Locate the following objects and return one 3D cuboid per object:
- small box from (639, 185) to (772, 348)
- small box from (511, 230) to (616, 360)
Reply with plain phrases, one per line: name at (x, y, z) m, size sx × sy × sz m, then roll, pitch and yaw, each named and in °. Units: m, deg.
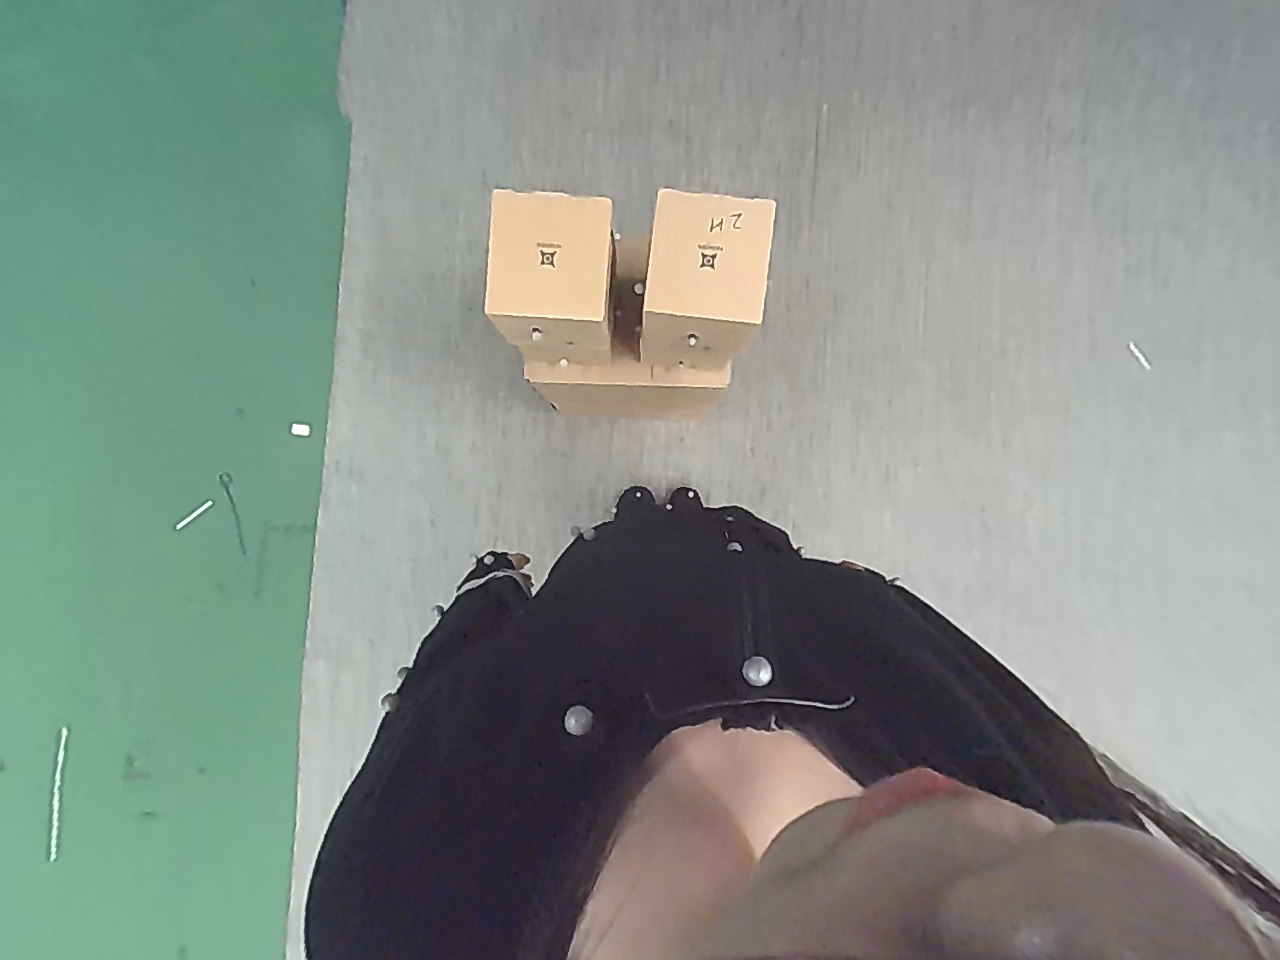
small box at (0.093, -0.313, 0.828) m, size 0.168 × 0.176 × 0.179 m, roll 8°, pitch 90°, yaw 1°
small box at (-0.133, -0.330, 0.993) m, size 0.168 × 0.176 × 0.179 m, roll 4°, pitch 91°, yaw -2°
